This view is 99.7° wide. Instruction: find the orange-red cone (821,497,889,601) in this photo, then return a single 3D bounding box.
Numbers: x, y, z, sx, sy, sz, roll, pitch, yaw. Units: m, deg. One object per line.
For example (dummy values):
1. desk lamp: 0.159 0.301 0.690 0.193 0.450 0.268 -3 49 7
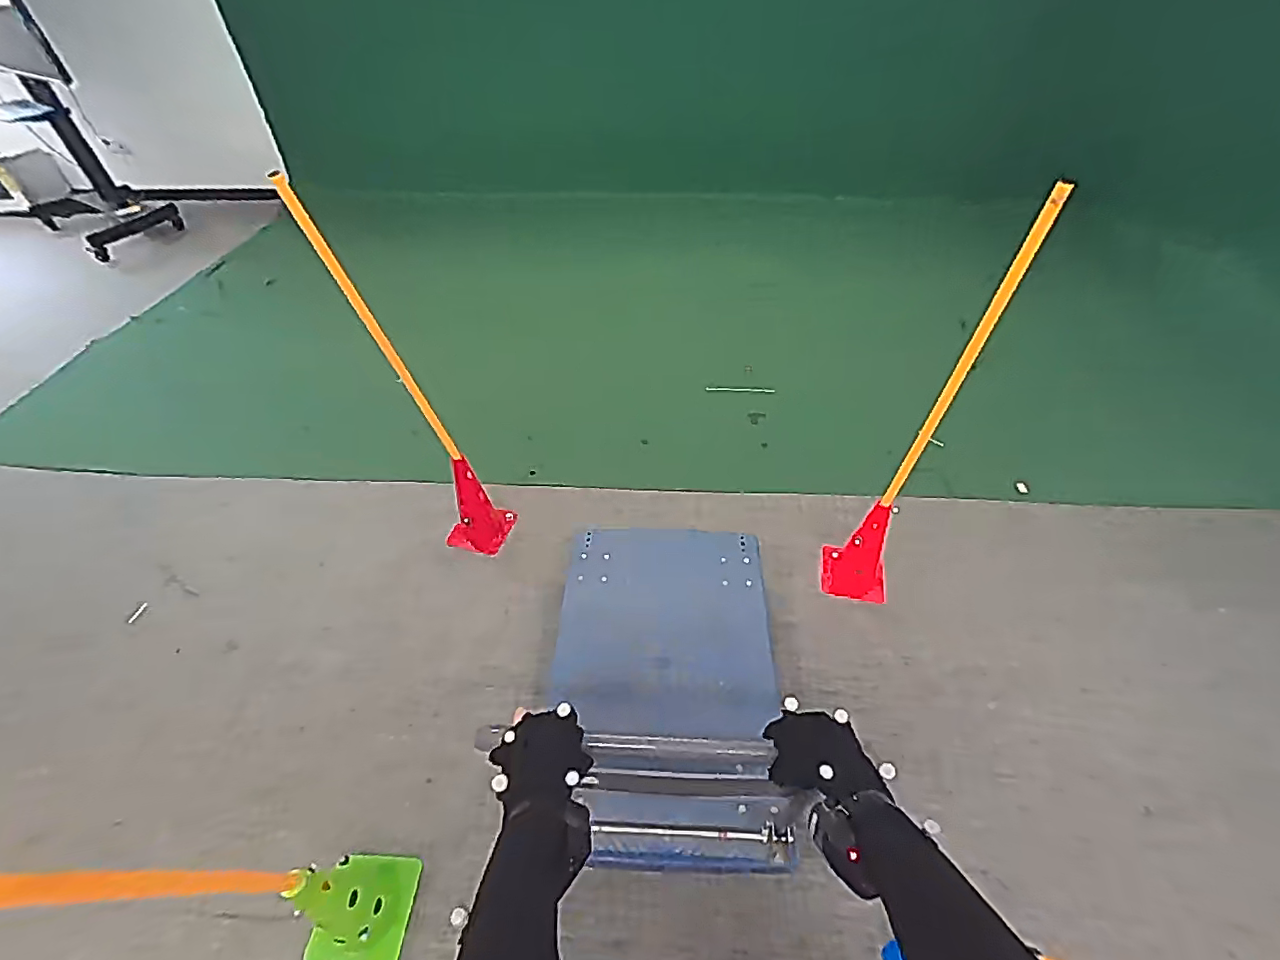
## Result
1. orange-red cone: 0.699 0.187 1.670 0.198 0.360 0.199 9 47 11
